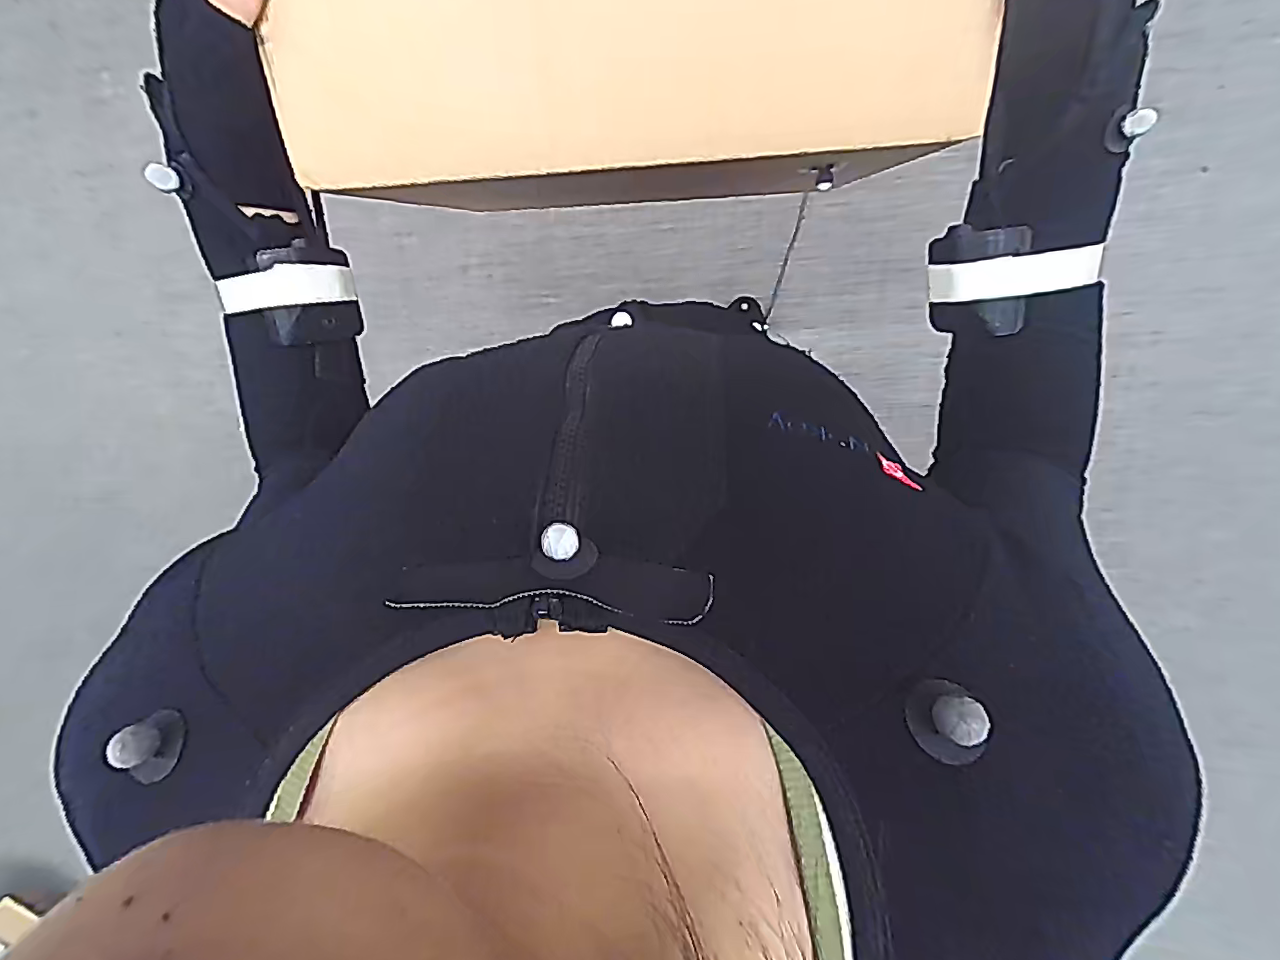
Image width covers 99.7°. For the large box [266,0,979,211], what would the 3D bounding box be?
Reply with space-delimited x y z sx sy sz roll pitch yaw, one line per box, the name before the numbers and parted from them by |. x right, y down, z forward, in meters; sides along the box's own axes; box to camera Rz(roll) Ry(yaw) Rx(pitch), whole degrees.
large box | -0.008 -0.393 0.408 0.408 0.320 0.320 -1 113 6
